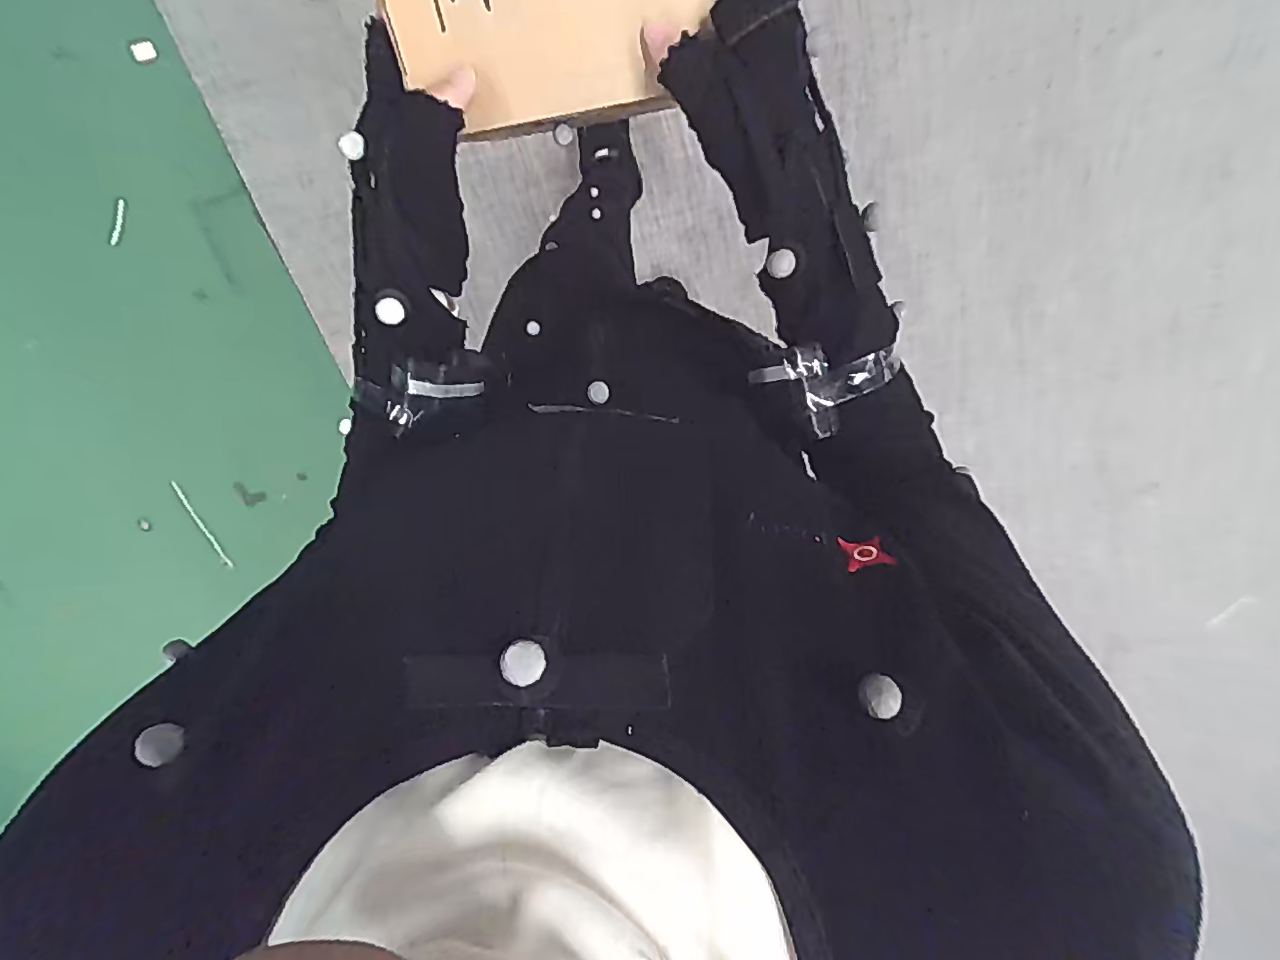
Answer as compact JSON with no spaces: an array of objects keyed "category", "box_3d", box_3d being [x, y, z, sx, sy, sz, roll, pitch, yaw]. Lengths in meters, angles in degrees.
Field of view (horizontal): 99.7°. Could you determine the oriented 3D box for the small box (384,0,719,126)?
[{"category":"small box","box_3d":[-0.052,-0.327,0.330,0.179,0.176,0.168,-7,122,4]}]
